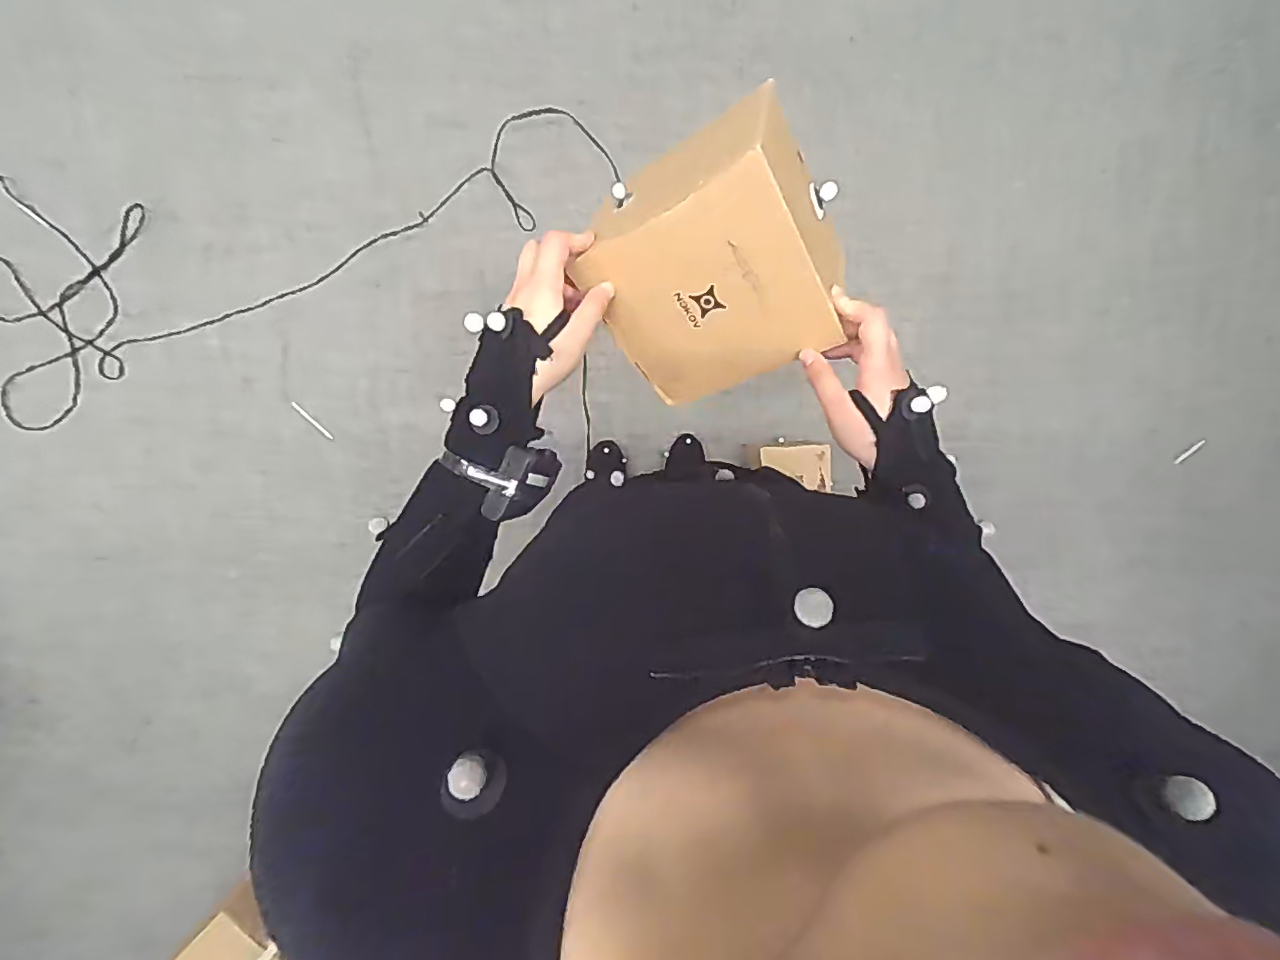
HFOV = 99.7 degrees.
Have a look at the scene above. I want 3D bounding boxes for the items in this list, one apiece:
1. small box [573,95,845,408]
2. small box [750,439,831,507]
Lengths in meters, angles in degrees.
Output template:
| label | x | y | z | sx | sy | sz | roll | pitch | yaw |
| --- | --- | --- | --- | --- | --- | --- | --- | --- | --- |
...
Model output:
| label | x | y | z | sx | sy | sz | roll | pitch | yaw |
| --- | --- | --- | --- | --- | --- | --- | --- | --- | --- |
| small box | 0.072 | -0.201 | 0.495 | 0.179 | 0.176 | 0.168 | -18 | 131 | 33 |
| small box | 0.386 | -0.022 | 1.417 | 0.179 | 0.176 | 0.168 | -2 | 97 | 1 |
